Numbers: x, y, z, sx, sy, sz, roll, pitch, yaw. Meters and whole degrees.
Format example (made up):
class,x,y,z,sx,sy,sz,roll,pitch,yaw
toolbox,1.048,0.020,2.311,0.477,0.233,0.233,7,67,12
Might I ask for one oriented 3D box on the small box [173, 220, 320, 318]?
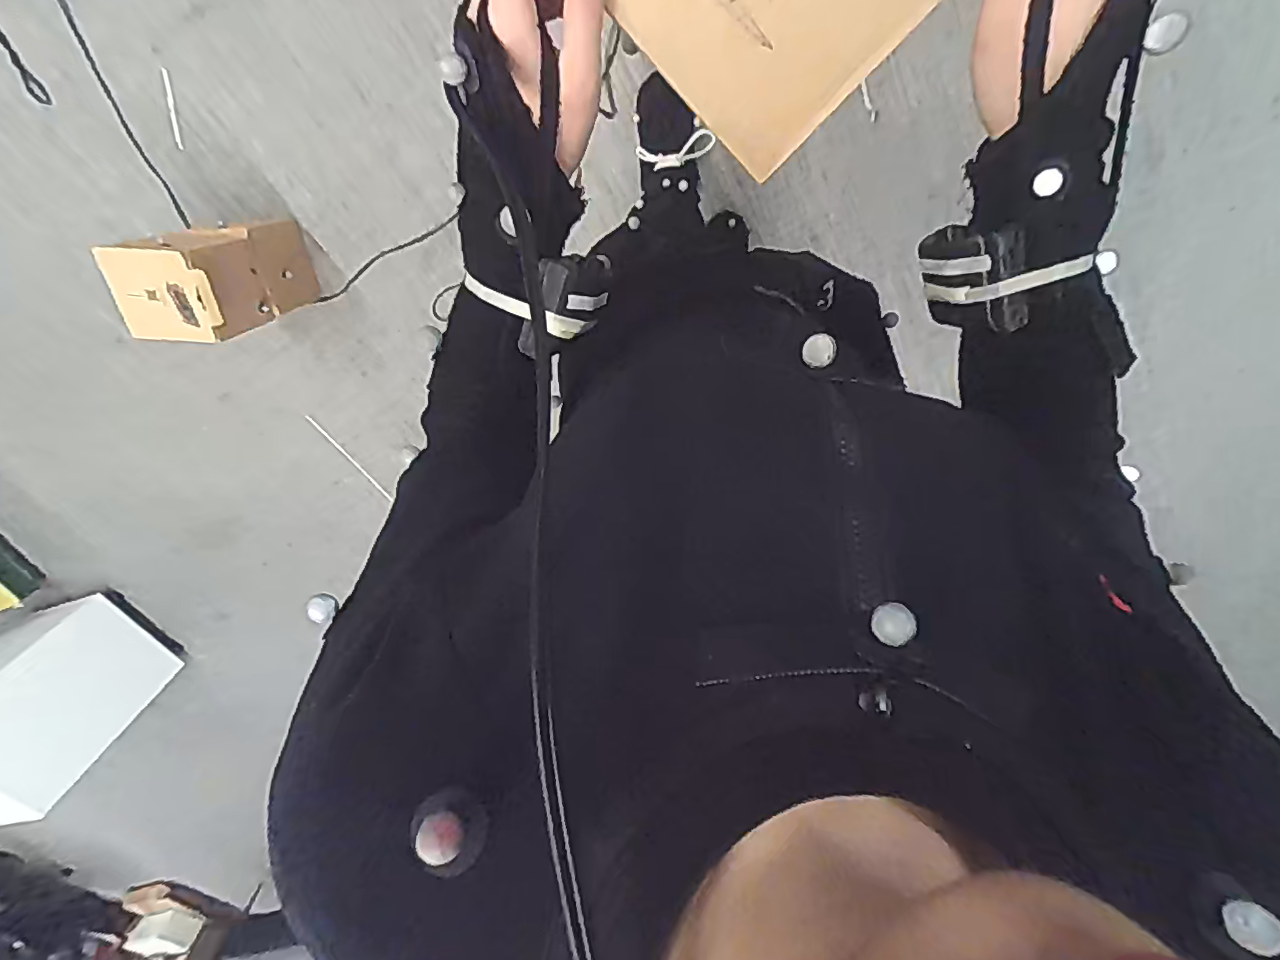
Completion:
class,x,y,z,sx,sy,sz,roll,pitch,yaw
small box,-0.848,-0.464,1.189,0.168,0.176,0.179,0,122,5

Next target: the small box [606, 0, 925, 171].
class,x,y,z,sx,sy,sz,roll,pitch,yaw
small box,0.067,-0.319,0.290,0.168,0.176,0.179,33,127,-26

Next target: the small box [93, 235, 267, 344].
class,x,y,z,sx,sy,sz,roll,pitch,yaw
small box,-0.870,-0.375,1.052,0.179,0.176,0.168,4,121,3
